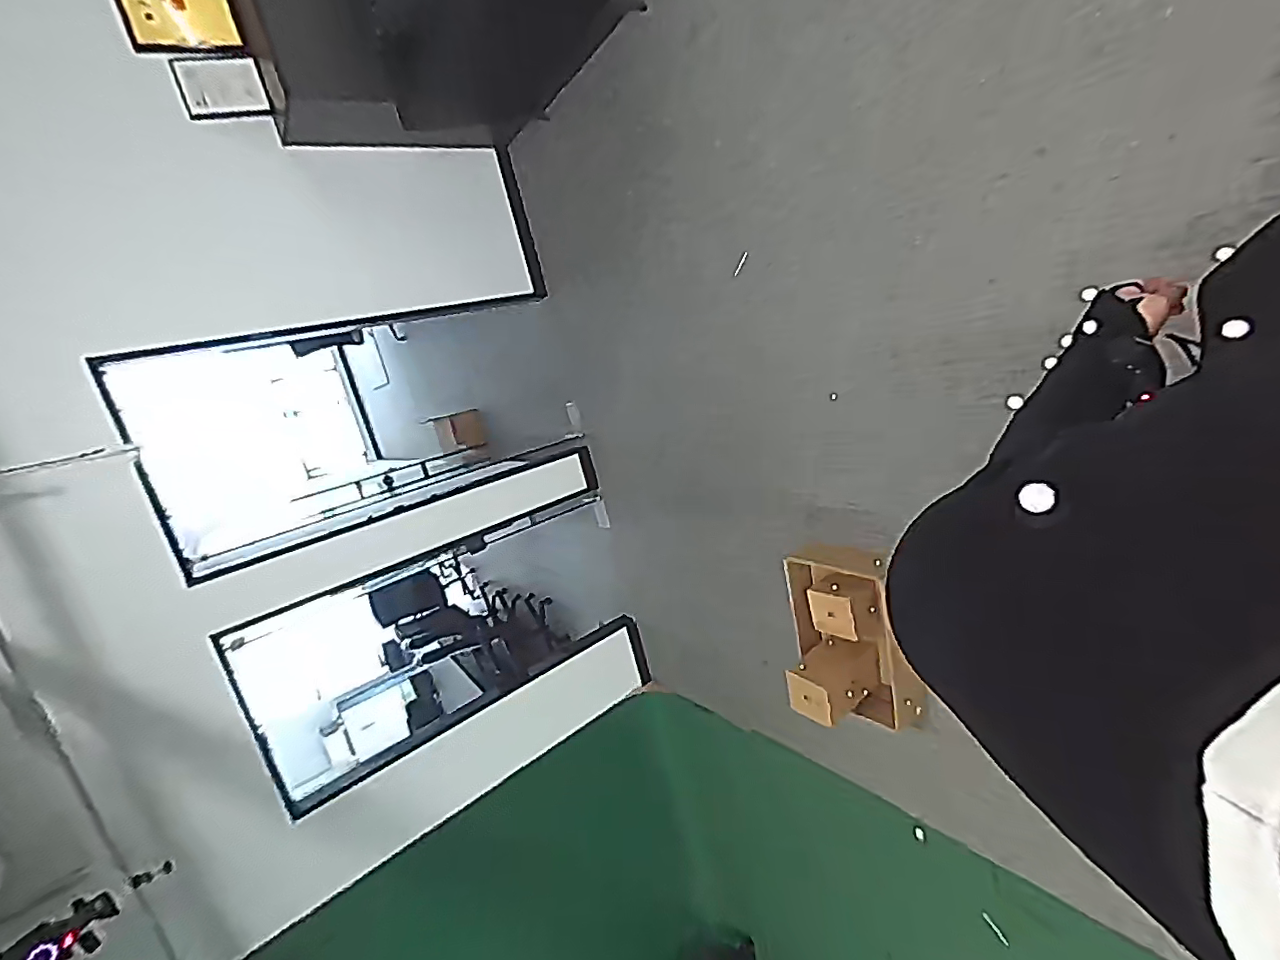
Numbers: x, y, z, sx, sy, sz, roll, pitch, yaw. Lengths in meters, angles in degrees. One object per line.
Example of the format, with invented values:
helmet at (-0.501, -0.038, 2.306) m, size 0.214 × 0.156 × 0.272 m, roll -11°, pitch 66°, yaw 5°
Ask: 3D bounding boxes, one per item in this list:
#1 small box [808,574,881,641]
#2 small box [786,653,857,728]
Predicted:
small box at (0.746, 0.456, 1.972) m, size 0.179 × 0.176 × 0.168 m, roll 1°, pitch 109°, yaw 53°
small box at (0.658, 0.752, 1.957) m, size 0.179 × 0.176 × 0.168 m, roll 8°, pitch 114°, yaw 53°
